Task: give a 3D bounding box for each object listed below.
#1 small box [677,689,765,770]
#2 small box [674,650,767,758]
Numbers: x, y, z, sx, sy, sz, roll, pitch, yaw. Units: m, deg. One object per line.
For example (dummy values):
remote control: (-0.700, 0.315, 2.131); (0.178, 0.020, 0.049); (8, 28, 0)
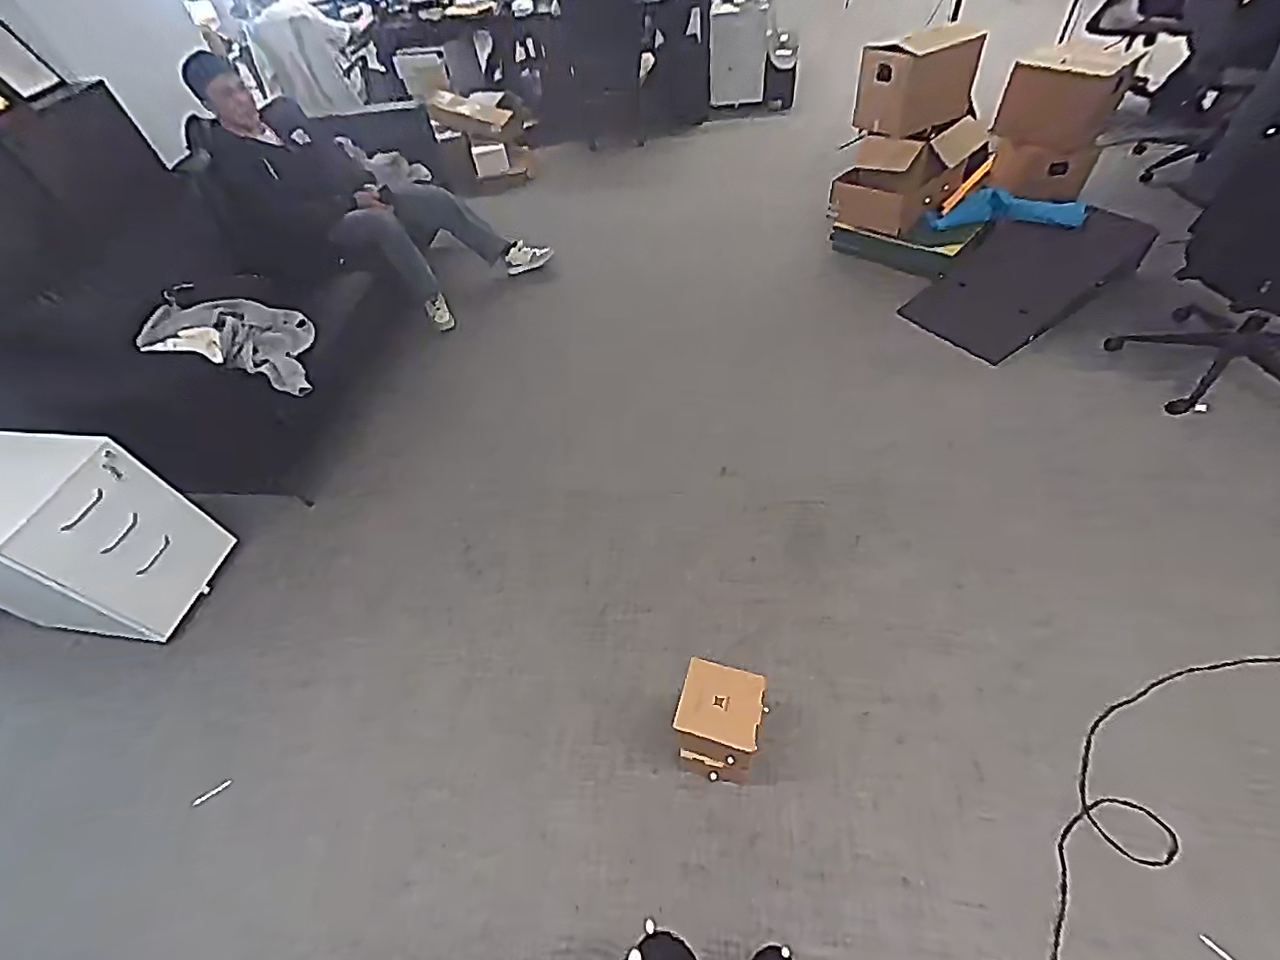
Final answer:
small box: (0.208, 0.617, 1.382); (0.179, 0.176, 0.168); (-18, 49, -3)
small box: (0.191, 0.526, 1.258); (0.179, 0.176, 0.168); (10, 52, 19)
